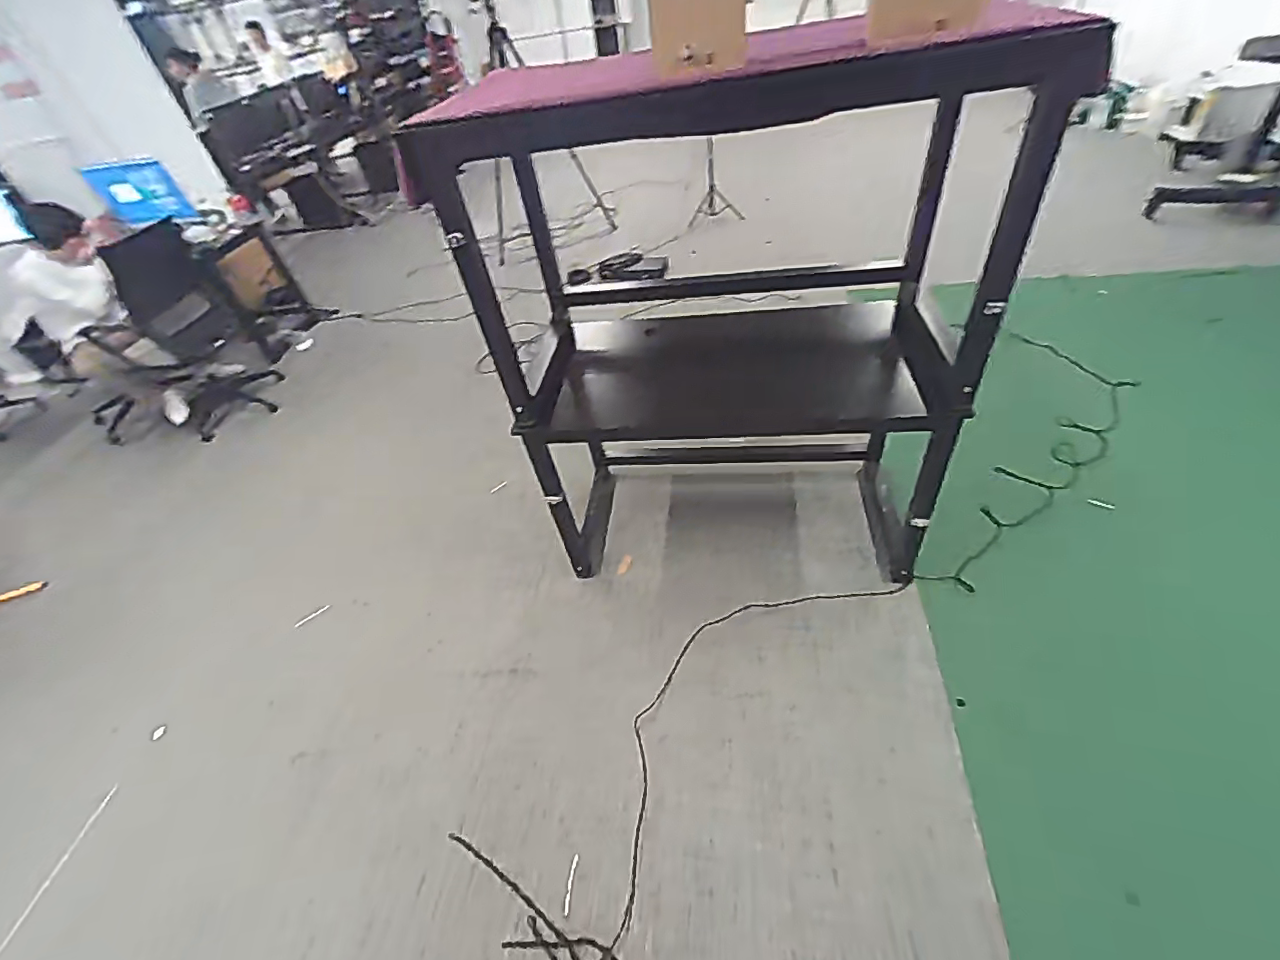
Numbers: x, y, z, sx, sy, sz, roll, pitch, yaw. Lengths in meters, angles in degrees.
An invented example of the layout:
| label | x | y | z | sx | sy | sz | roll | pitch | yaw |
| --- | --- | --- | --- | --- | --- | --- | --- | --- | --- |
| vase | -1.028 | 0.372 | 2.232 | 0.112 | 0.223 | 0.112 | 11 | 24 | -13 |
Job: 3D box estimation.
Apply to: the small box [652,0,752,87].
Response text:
| label | x | y | z | sx | sy | sz | roll | pitch | yaw |
| --- | --- | --- | --- | --- | --- | --- | --- | --- | --- |
| small box | 0.117 | -0.837 | 0.983 | 0.168 | 0.176 | 0.179 | 0 | 44 | 14 |

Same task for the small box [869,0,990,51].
| label | x | y | z | sx | sy | sz | roll | pitch | yaw |
| --- | --- | --- | --- | --- | --- | --- | --- | --- | --- |
| small box | 0.490 | -0.847 | 0.912 | 0.168 | 0.176 | 0.179 | 1 | 44 | 15 |
